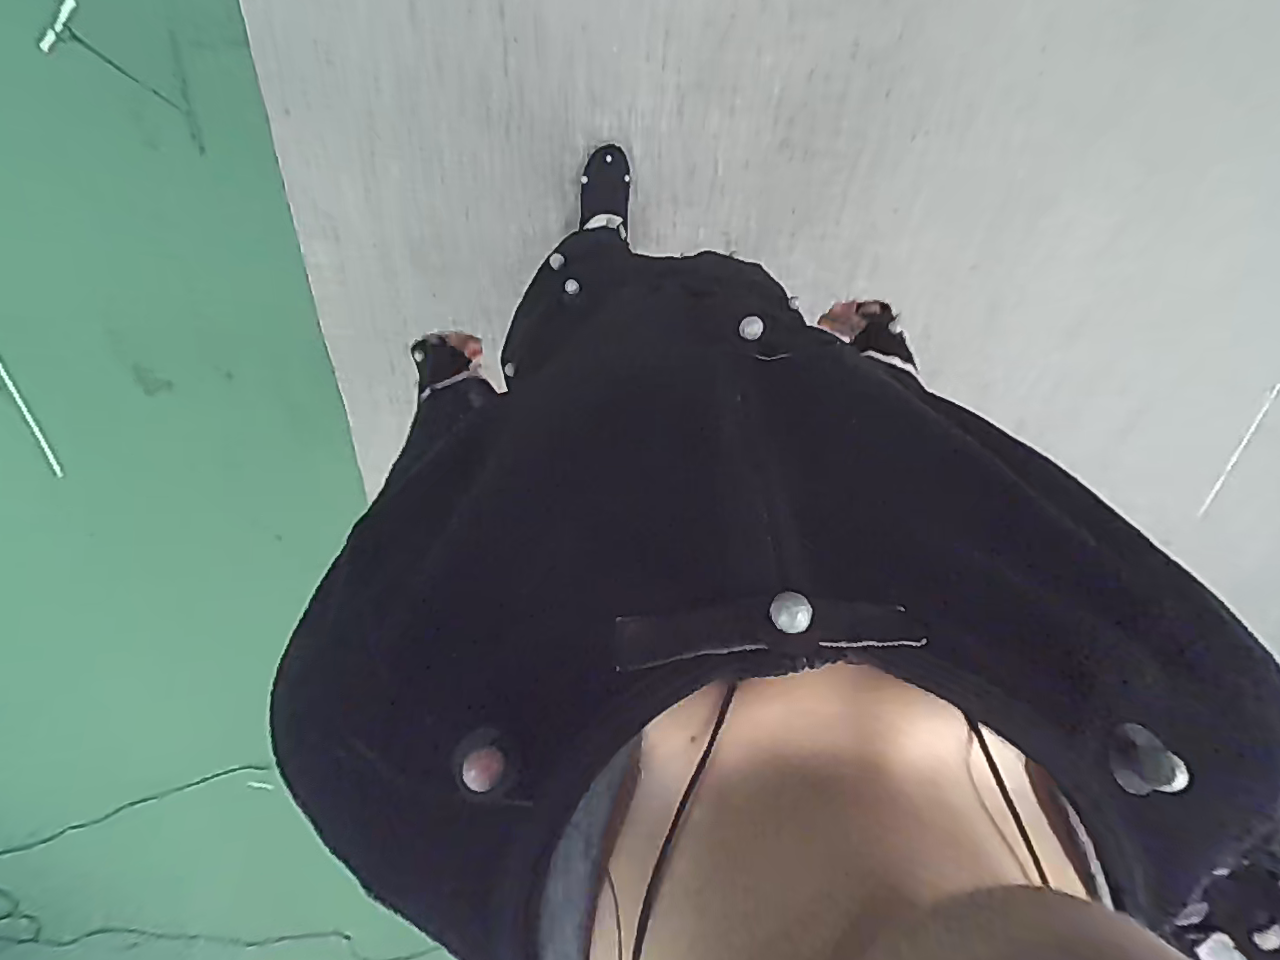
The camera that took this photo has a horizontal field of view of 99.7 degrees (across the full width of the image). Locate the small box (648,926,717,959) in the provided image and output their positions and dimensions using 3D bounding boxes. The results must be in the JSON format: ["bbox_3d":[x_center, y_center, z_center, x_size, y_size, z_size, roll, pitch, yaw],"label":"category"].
[{"bbox_3d":[0.117,1.310,1.419,0.179,0.176,0.168,-3,119,-4],"label":"small box"}]
